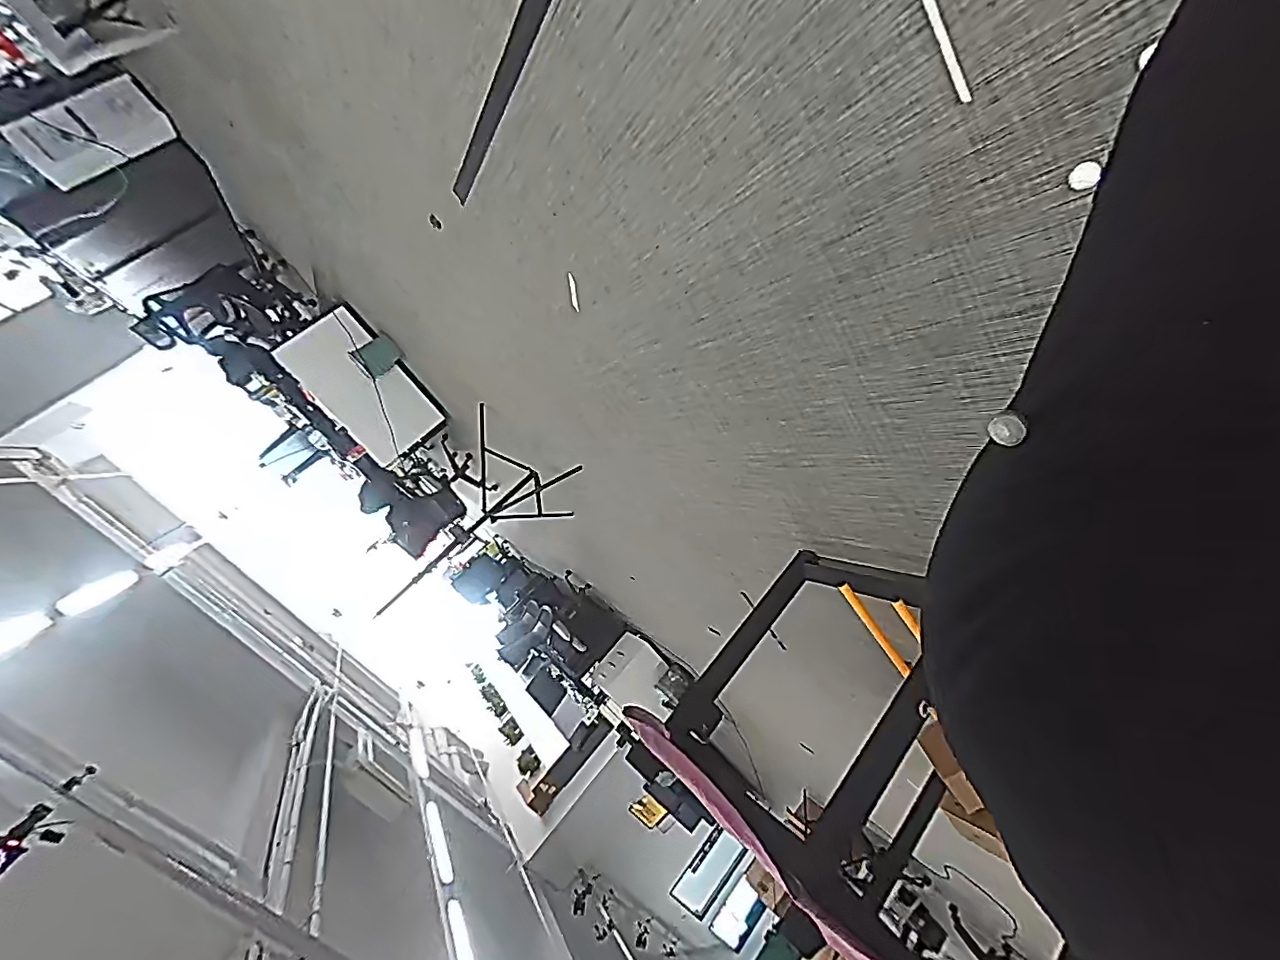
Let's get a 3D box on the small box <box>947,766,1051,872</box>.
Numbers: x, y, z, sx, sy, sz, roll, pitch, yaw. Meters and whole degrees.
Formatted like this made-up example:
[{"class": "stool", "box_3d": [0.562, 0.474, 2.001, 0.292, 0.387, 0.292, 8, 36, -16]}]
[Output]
[{"class": "small box", "box_3d": [1.051, 0.979, 1.583, 0.168, 0.176, 0.179, 50, 158, -17]}]
